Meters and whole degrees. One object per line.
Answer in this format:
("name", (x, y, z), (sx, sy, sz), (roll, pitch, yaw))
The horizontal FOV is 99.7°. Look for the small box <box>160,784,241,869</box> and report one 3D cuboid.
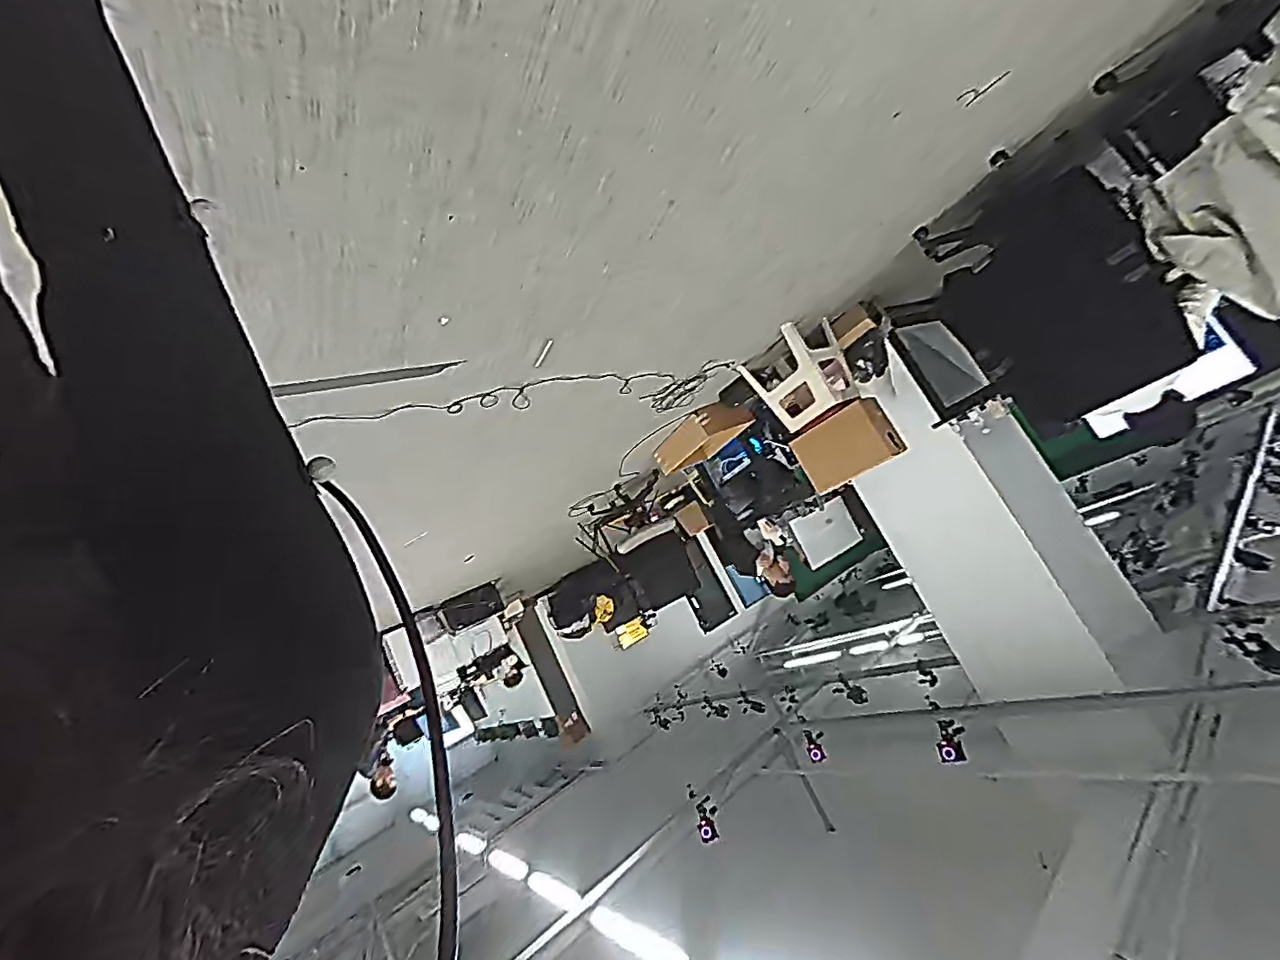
("small box", (-1.400, 1.097, 1.725), (0.168, 0.176, 0.179), (-18, 166, -41))
